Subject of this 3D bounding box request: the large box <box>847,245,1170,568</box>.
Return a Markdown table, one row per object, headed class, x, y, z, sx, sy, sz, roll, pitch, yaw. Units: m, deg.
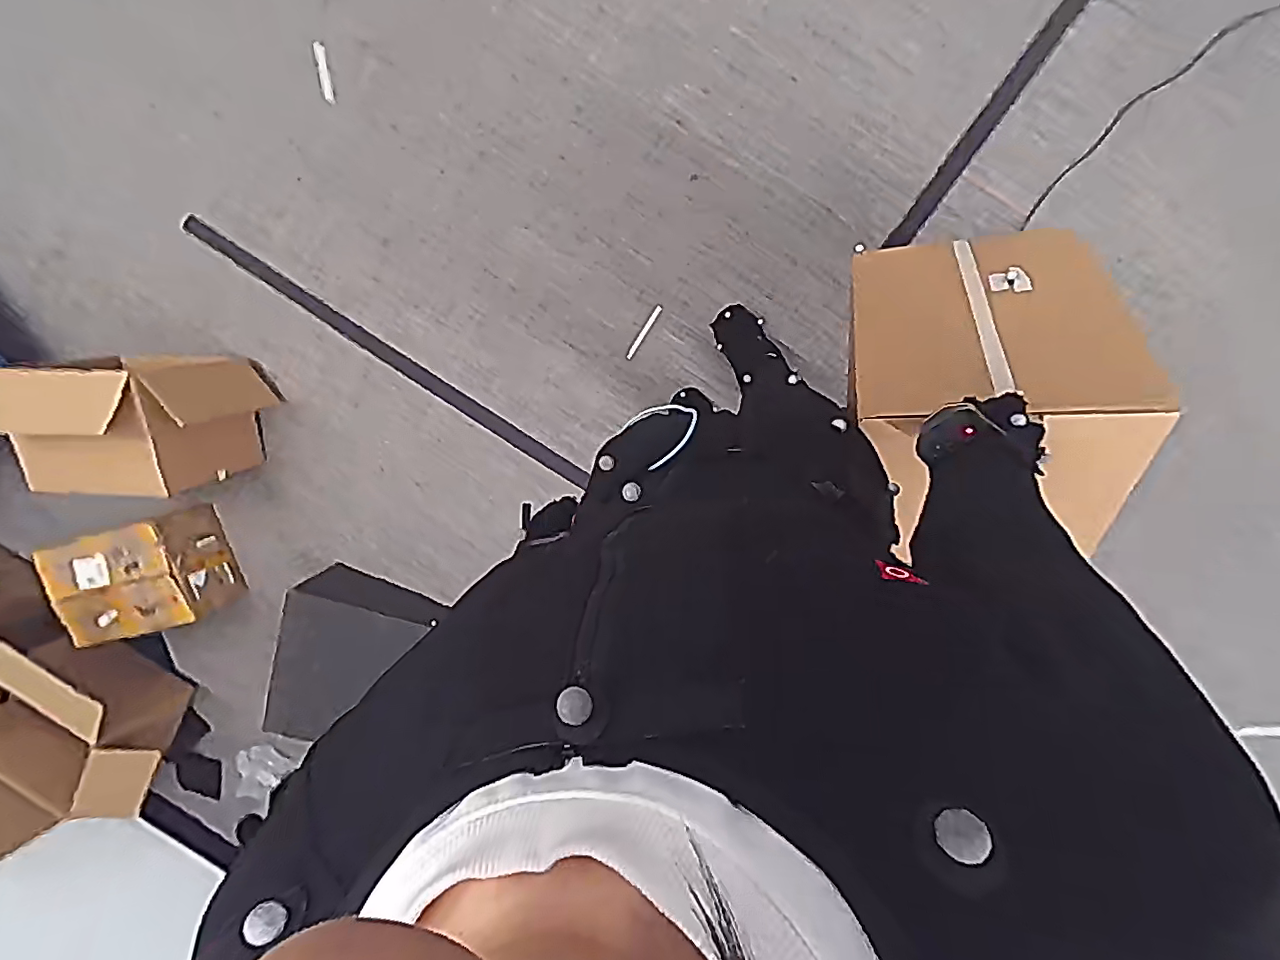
| class | x | y | z | sx | sy | sz | roll | pitch | yaw |
| --- | --- | --- | --- | --- | --- | --- | --- | --- | --- |
| large box | 0.498 | -0.113 | 0.849 | 0.320 | 0.408 | 0.320 | 2 | 138 | 18 |
